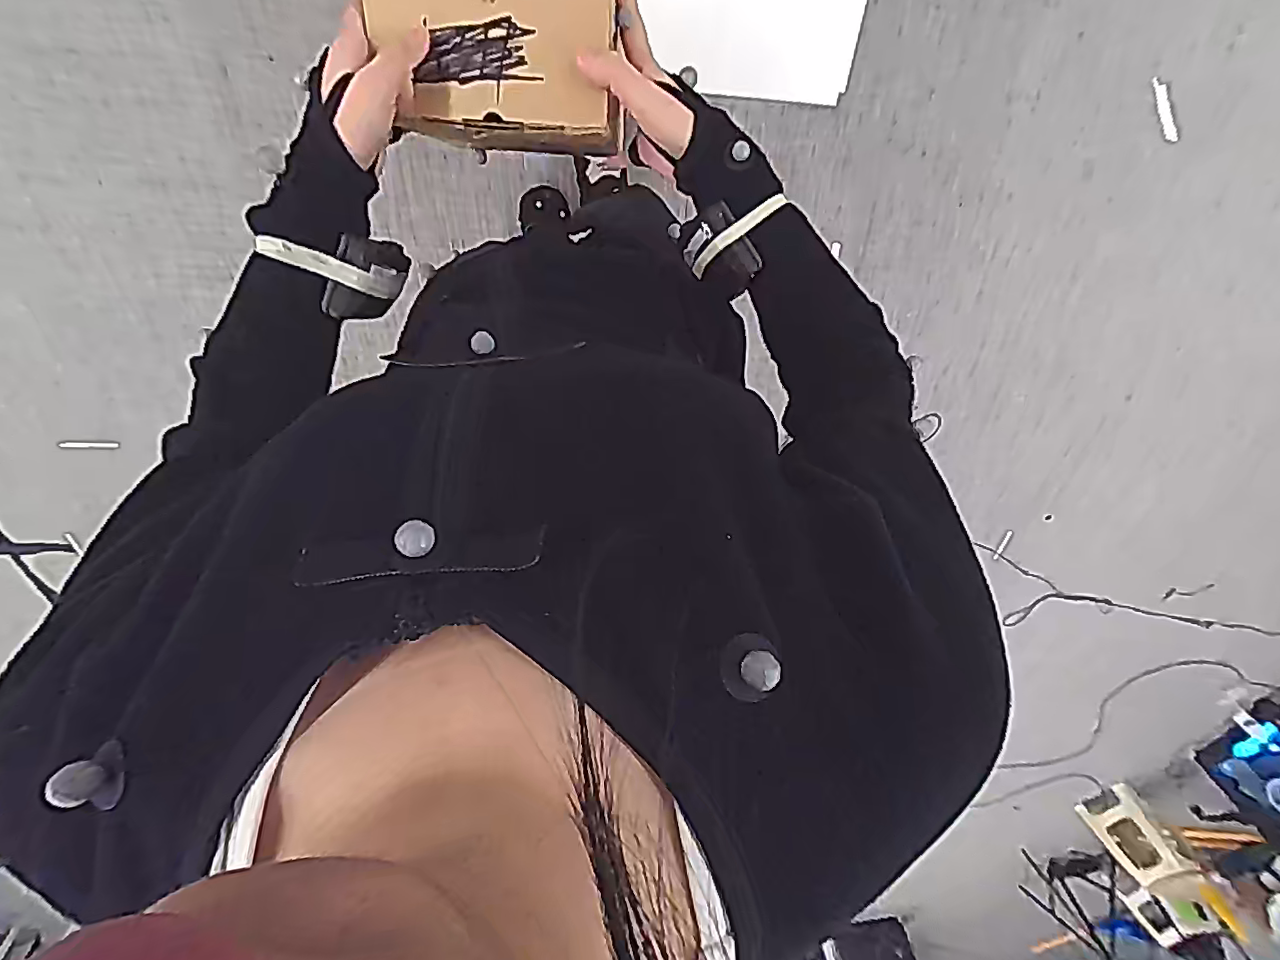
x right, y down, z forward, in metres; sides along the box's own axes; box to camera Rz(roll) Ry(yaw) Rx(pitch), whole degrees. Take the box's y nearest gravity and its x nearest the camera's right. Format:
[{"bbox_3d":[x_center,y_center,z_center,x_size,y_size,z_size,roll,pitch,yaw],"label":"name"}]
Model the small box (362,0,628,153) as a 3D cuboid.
[{"bbox_3d":[-0.097,-0.366,0.419,0.168,0.176,0.179,4,114,1],"label":"small box"}]
